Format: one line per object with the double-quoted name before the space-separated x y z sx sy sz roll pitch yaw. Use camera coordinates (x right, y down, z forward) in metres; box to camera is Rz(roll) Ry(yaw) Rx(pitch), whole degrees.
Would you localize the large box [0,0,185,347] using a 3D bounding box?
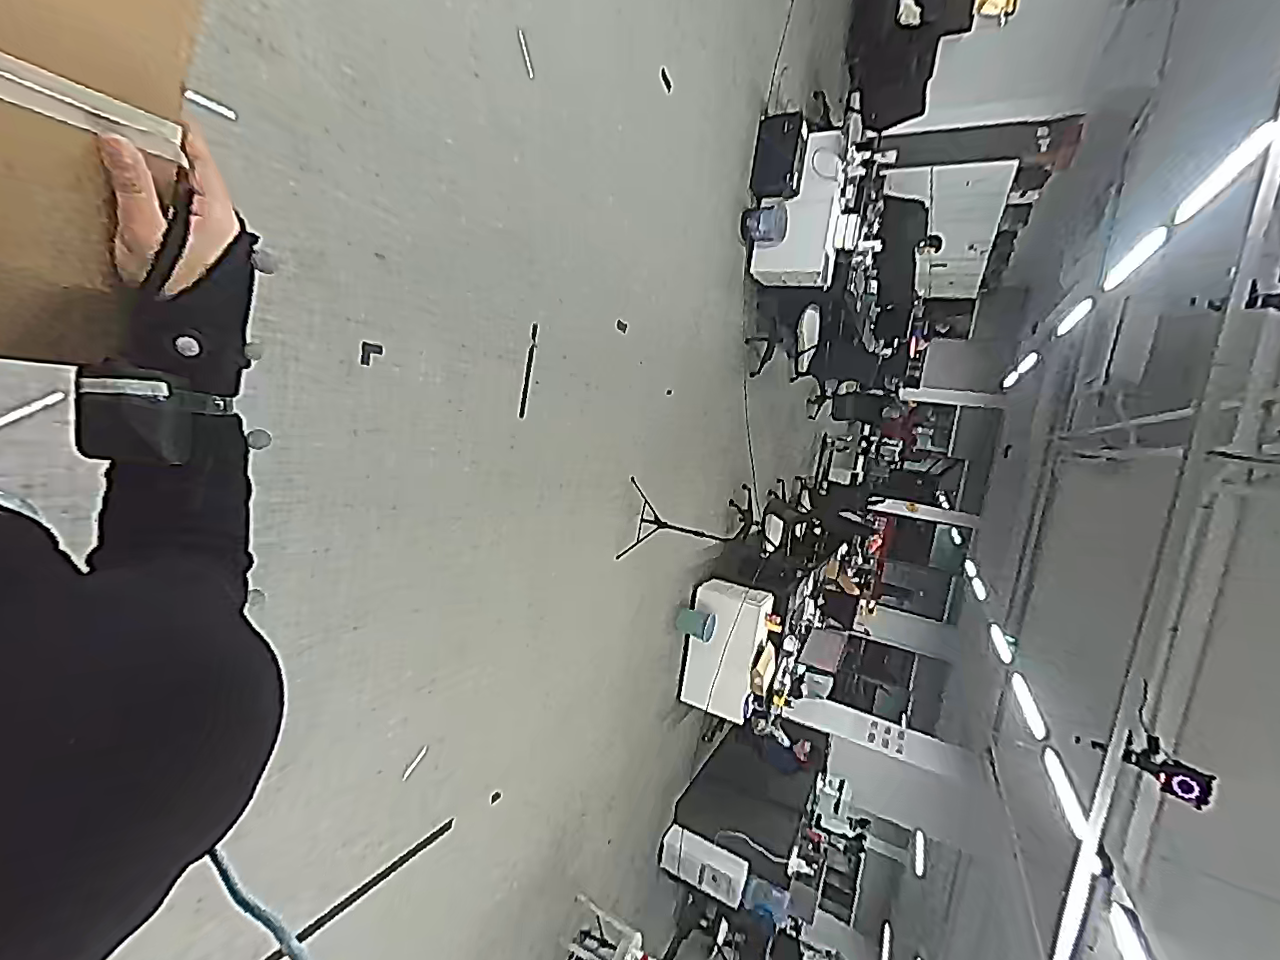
"large box" -0.509 -0.288 0.227 0.408 0.320 0.320 -7 131 -59
